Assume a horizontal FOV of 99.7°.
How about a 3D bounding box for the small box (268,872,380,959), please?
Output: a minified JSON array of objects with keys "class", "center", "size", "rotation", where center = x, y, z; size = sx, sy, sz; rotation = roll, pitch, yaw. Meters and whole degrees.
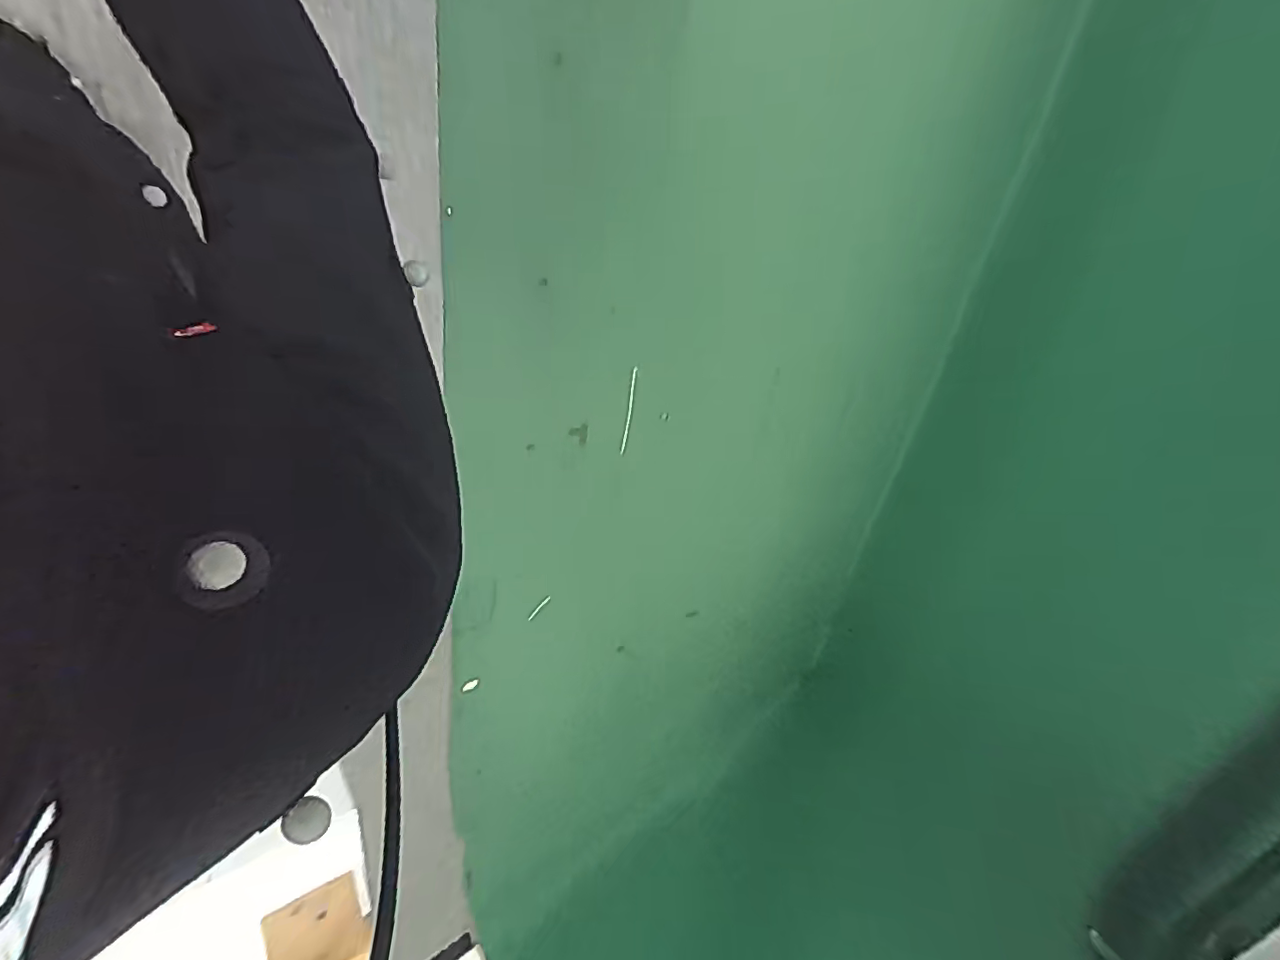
[{"class":"small box","center":[-0.631,0.947,1.087],"size":[0.168,0.176,0.179],"rotation":[-12,123,-38]}]
